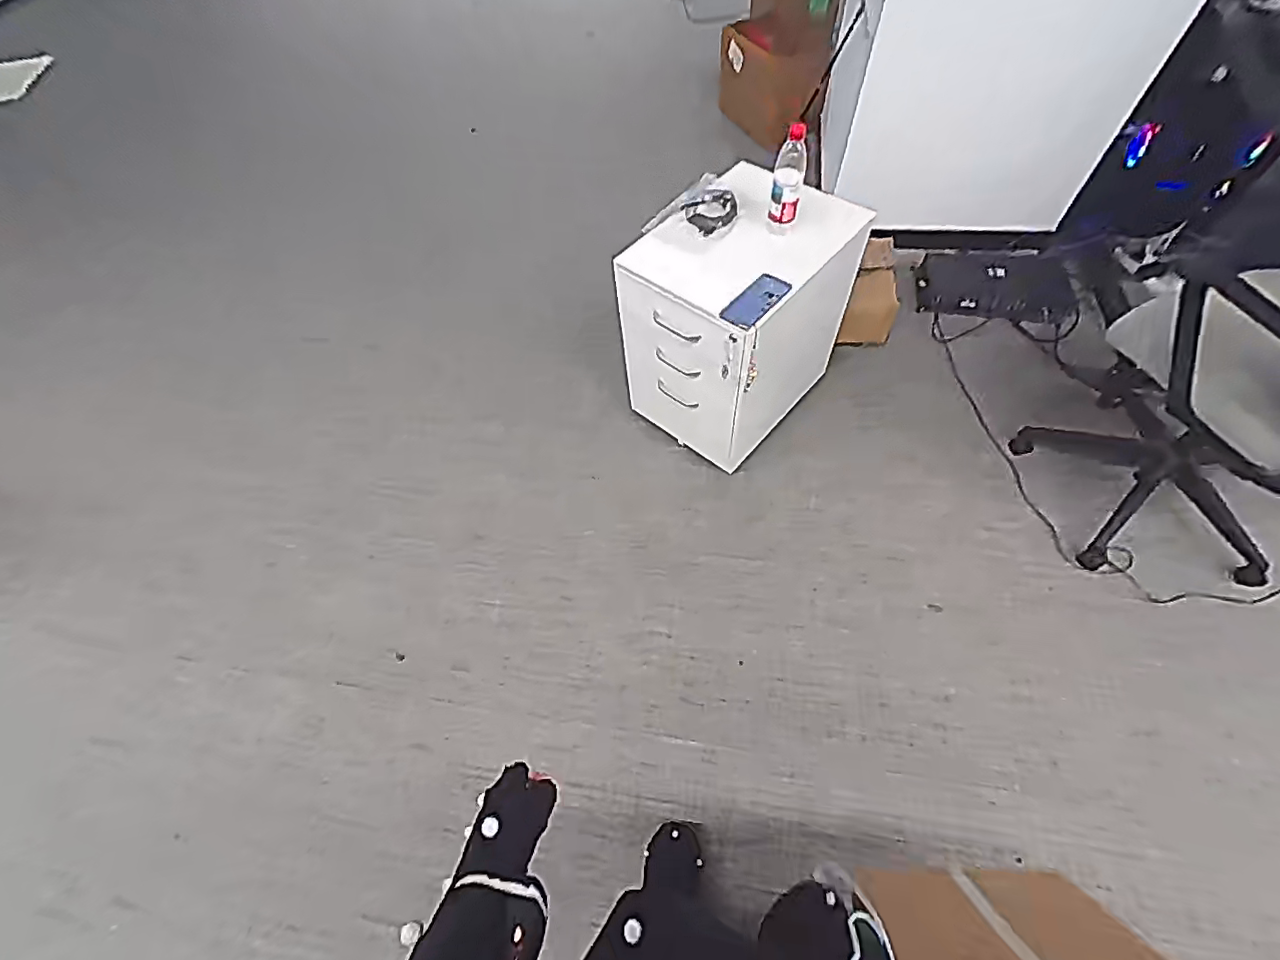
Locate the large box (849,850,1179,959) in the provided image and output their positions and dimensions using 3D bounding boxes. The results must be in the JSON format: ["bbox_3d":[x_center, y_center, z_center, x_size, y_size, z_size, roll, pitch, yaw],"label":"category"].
[{"bbox_3d":[0.470,0.703,0.627,0.320,0.408,0.320,-5,82,6],"label":"large box"}]
